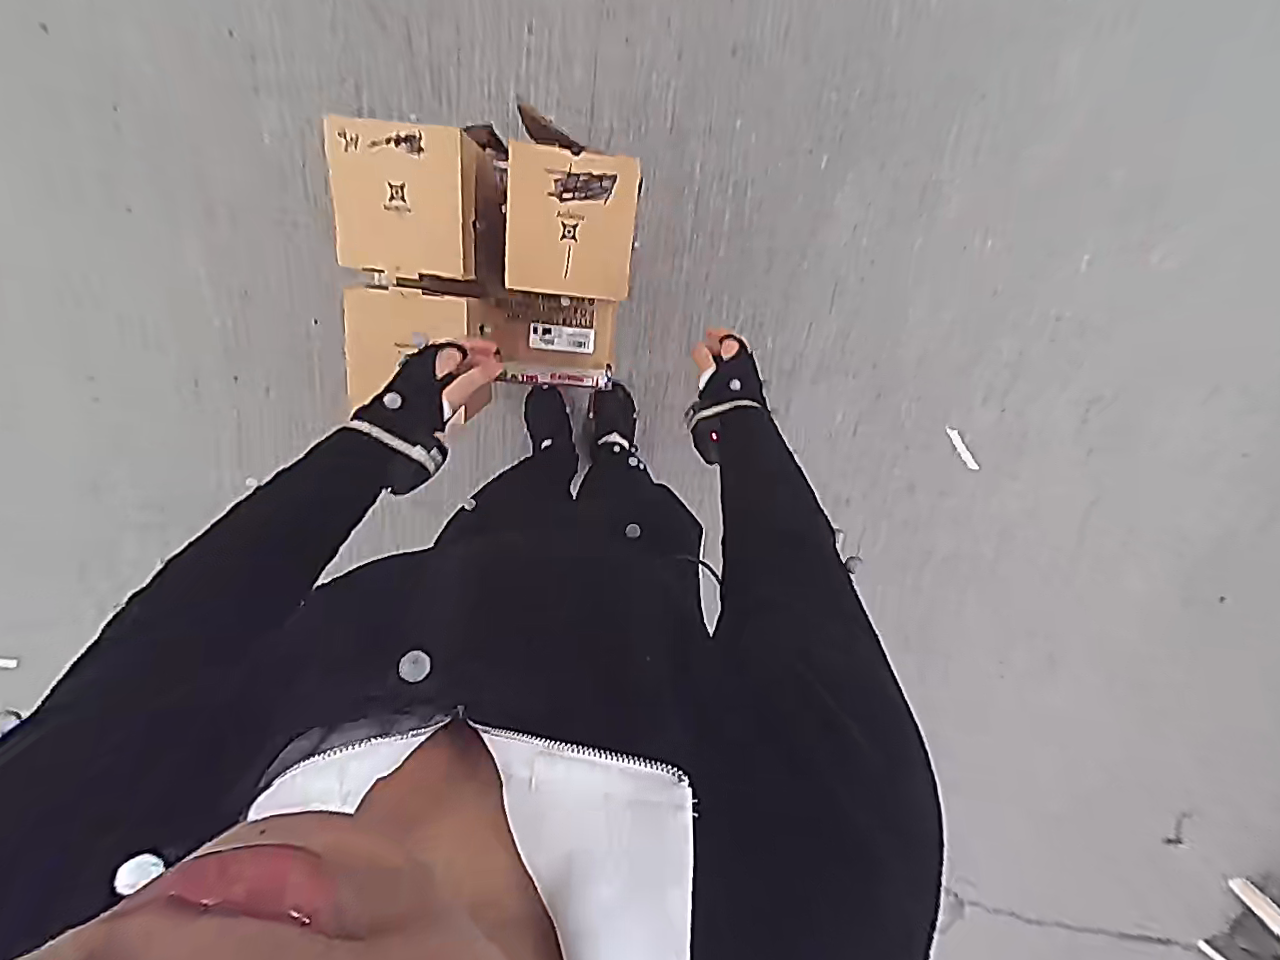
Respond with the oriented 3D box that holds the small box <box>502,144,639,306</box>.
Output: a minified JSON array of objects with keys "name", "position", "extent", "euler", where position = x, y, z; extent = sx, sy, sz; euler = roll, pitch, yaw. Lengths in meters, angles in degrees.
[{"name":"small box","position":[-0.099,-0.353,0.779],"extent":[0.168,0.176,0.179],"euler":[6,109,-6]}]
